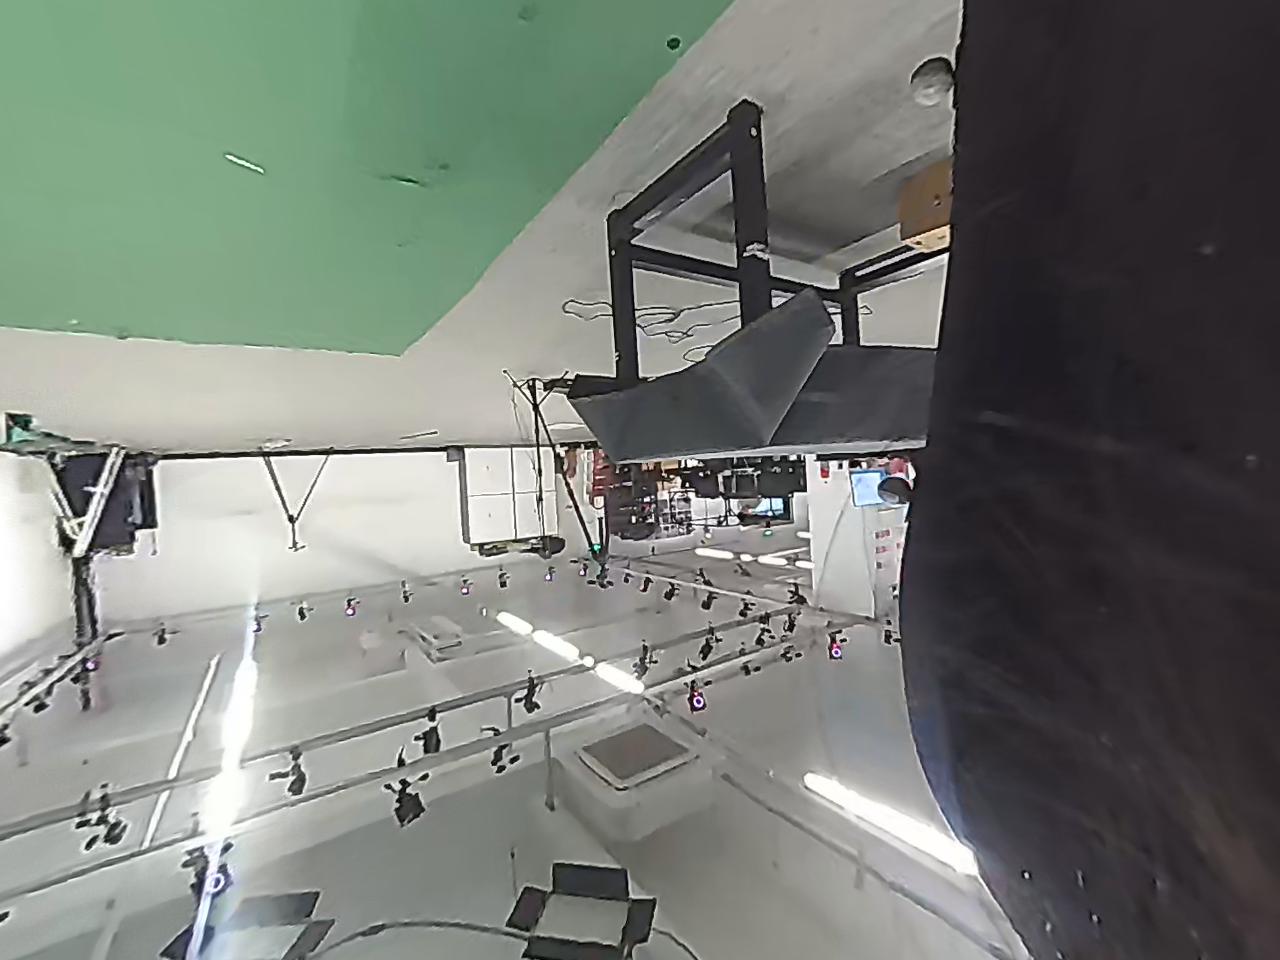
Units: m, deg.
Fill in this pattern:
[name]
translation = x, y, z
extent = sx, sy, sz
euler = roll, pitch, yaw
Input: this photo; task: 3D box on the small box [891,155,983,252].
[small box]
translation = 0.818, -0.760, 1.495
extent = 0.168, 0.176, 0.179
euler = -4, 180, -39
